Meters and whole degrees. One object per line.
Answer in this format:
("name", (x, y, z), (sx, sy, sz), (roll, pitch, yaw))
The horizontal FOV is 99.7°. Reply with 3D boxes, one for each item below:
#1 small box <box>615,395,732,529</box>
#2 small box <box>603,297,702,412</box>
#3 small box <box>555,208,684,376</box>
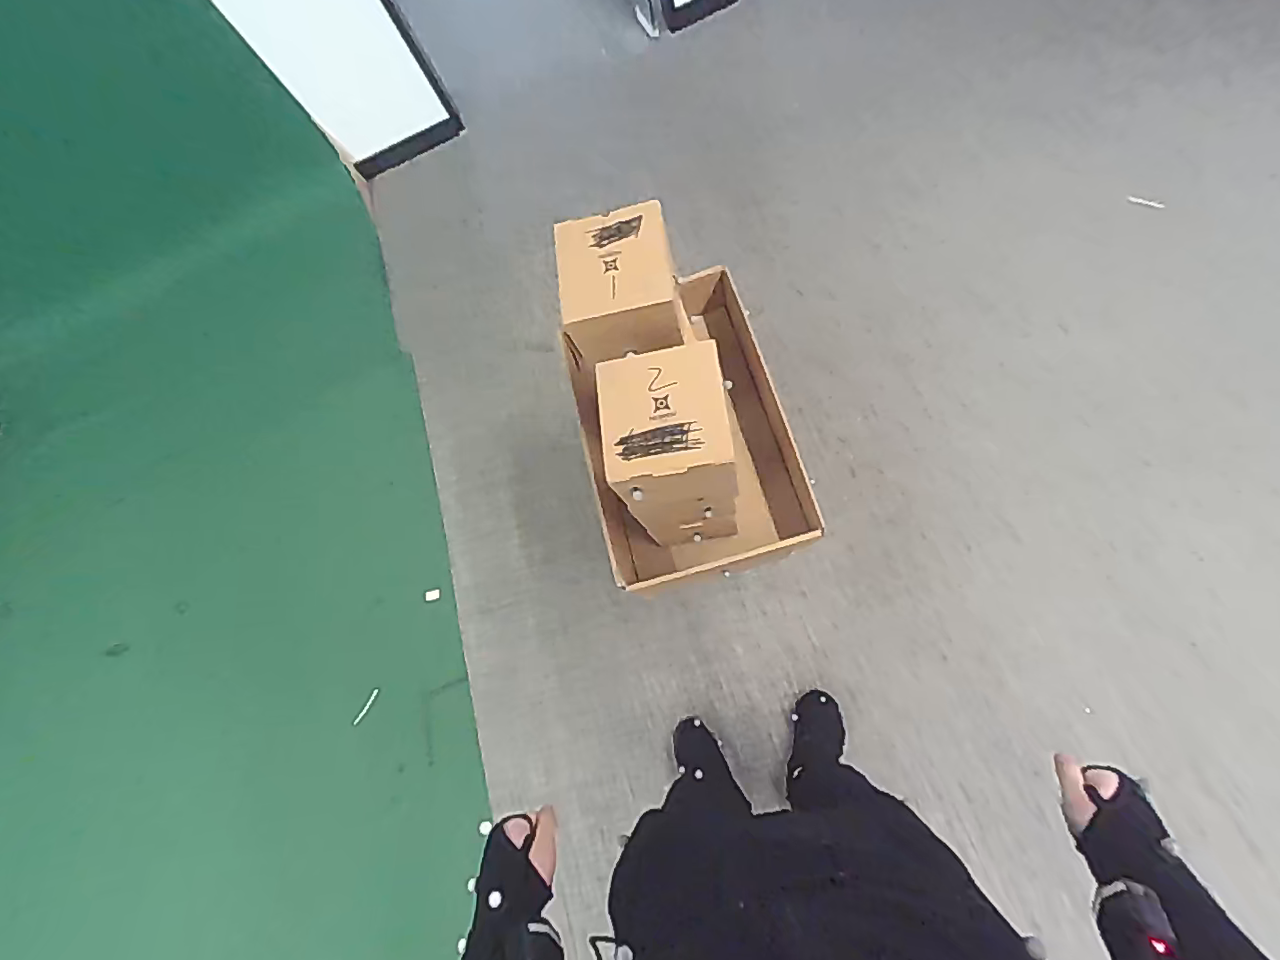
("small box", (0.063, -0.020, 0.935), (0.168, 0.176, 0.179), (-11, 71, 9))
("small box", (0.011, -0.244, 1.019), (0.168, 0.176, 0.179), (-18, 72, 6))
("small box", (-0.028, -0.291, 0.866), (0.168, 0.176, 0.179), (-9, 74, 9))
